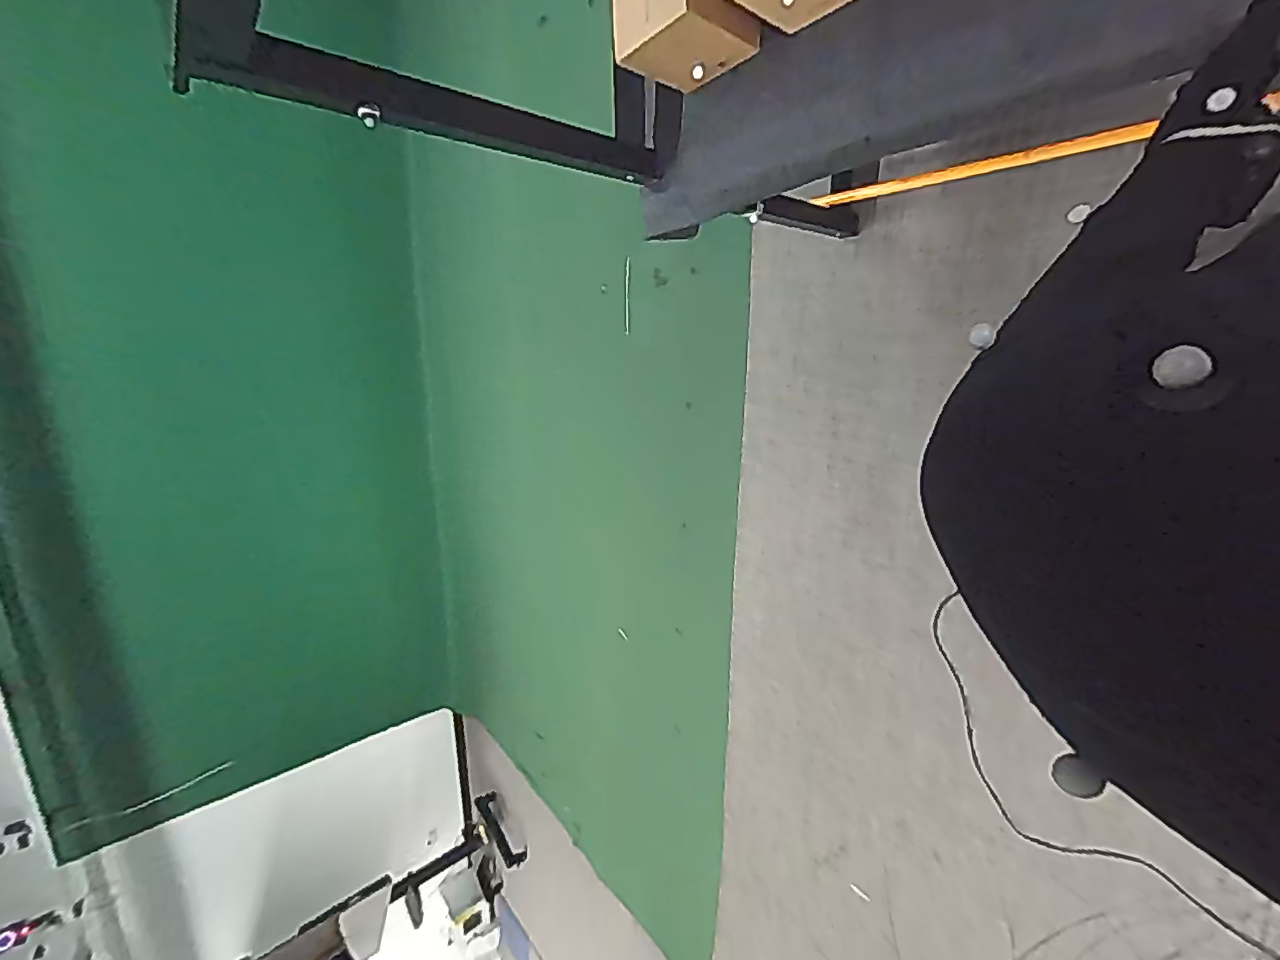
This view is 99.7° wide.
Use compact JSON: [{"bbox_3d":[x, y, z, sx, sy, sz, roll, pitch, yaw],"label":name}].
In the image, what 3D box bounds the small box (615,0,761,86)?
[{"bbox_3d":[0.077,-0.767,0.849,0.168,0.176,0.179,12,108,49],"label":"small box"}]
